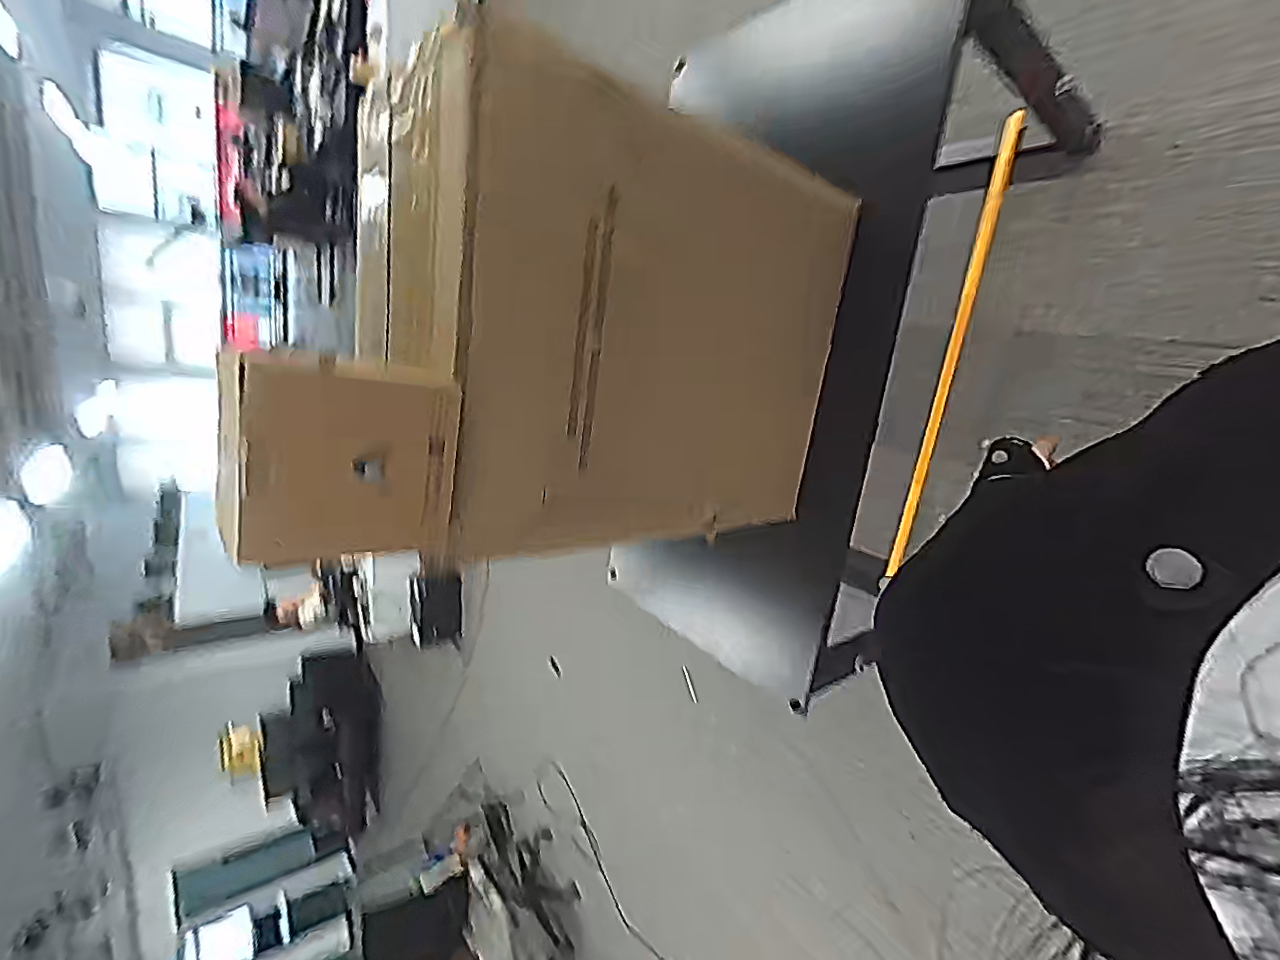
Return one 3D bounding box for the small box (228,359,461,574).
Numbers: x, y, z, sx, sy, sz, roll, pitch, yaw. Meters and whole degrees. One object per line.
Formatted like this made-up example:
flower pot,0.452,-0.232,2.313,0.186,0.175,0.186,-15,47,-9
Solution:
small box,-0.290,-0.022,0.529,0.179,0.176,0.168,17,102,47
